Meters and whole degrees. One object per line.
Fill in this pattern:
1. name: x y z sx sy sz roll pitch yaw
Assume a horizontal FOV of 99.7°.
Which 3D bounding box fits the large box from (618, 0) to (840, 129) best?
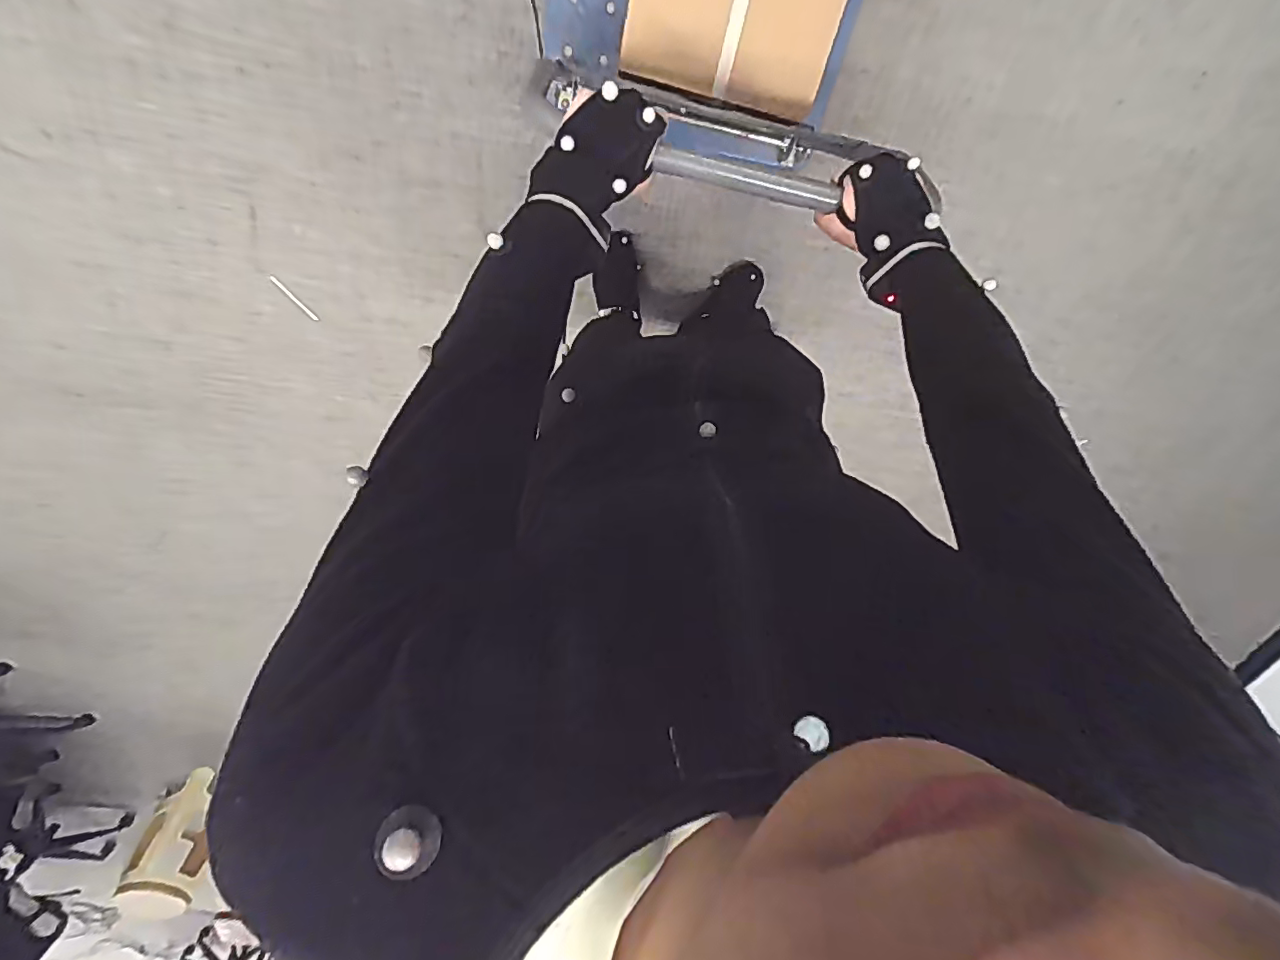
1. large box: 0.148 -0.841 0.884 0.320 0.320 0.408 9 121 -9
